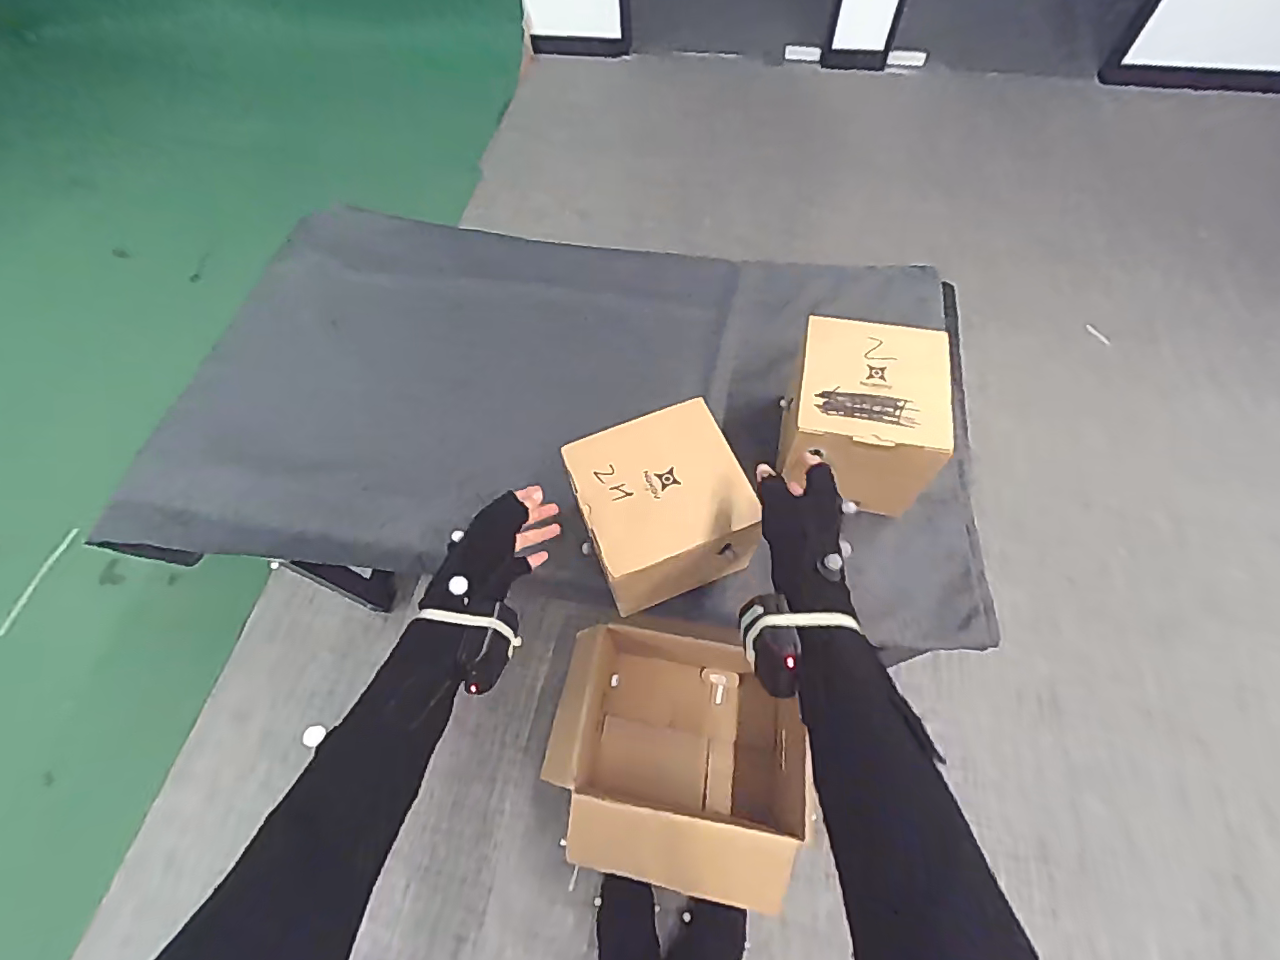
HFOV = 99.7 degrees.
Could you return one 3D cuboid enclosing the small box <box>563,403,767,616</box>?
[{"bbox_3d":[0.025,0.042,0.644,0.179,0.176,0.168,-21,64,-7],"label":"small box"}]
